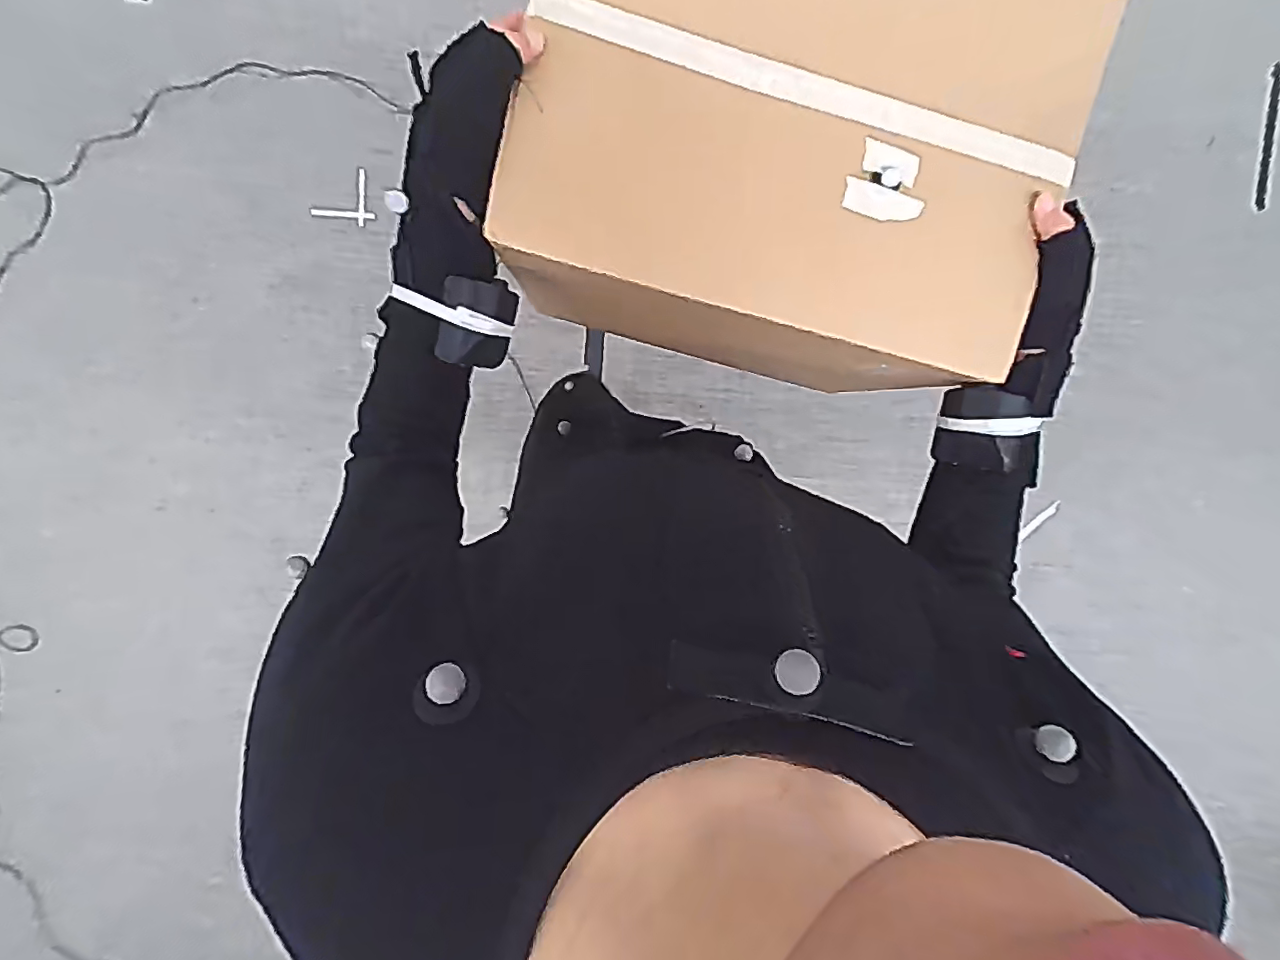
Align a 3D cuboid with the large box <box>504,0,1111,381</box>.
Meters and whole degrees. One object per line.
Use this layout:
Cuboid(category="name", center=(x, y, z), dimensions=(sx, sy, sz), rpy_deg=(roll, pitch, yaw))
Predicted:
Cuboid(category="large box", center=(0.113, -0.300, 0.538), dimensions=(0.408, 0.320, 0.320), rpy_deg=(14, 98, -7))
